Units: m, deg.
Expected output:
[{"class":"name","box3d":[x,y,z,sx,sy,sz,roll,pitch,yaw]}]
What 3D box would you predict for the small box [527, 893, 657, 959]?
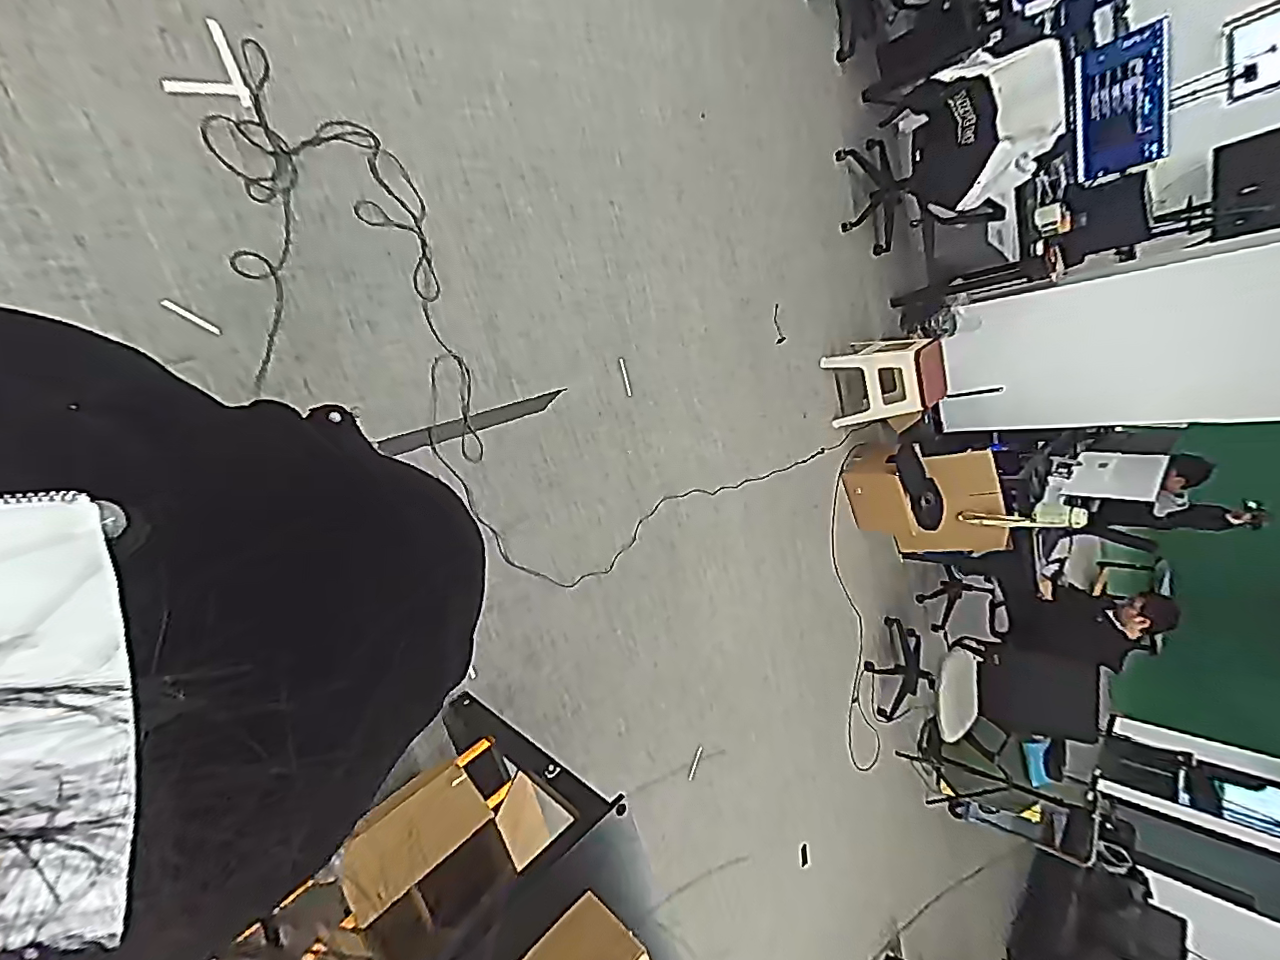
[{"class":"small box","box3d":[-0.074,0.859,0.907,0.179,0.176,0.168,-26,107,-37]}]
